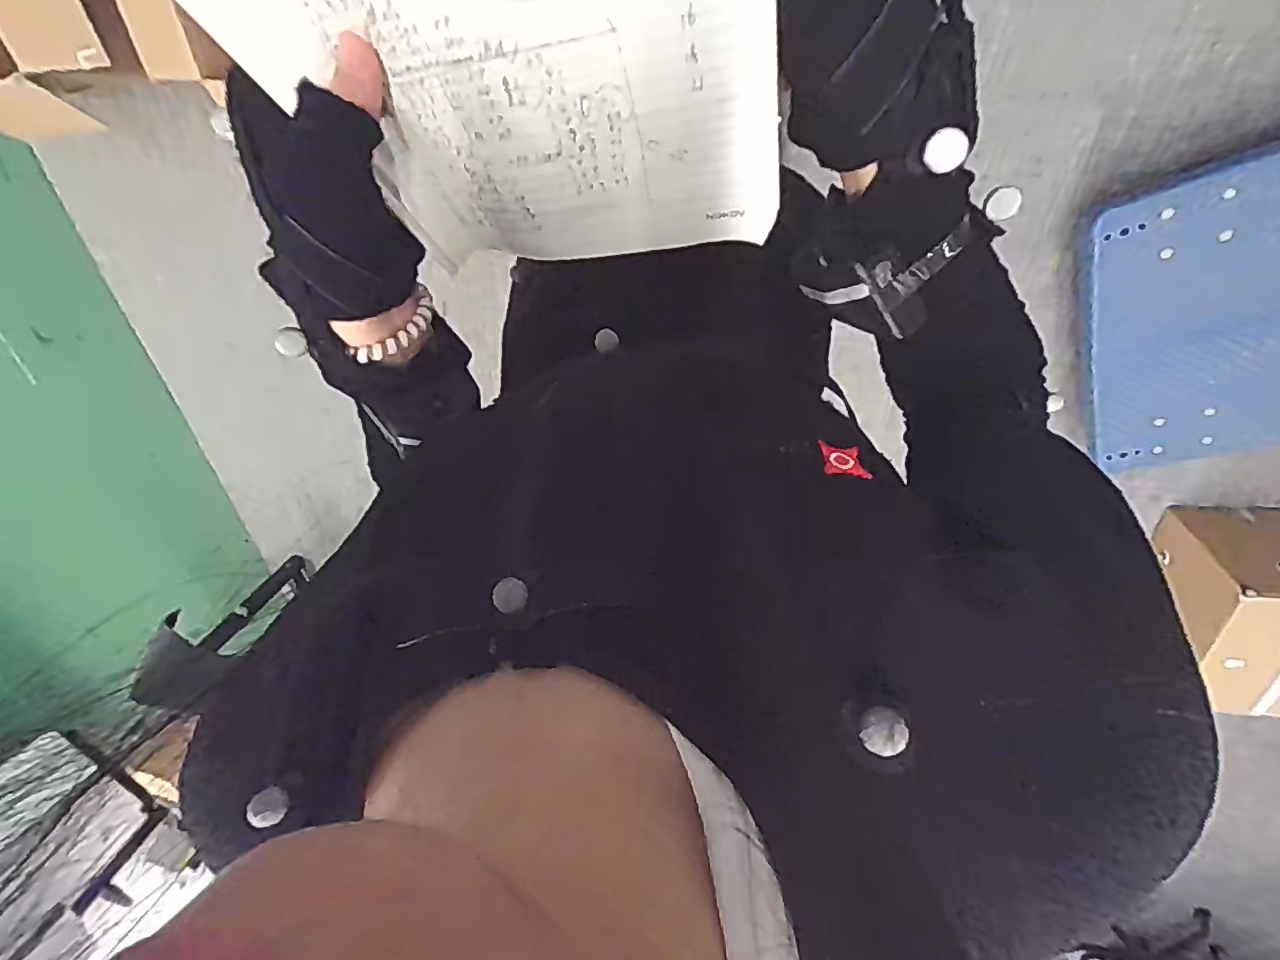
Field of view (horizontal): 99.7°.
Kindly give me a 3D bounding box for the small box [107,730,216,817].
[{"bbox_3d":[-1.517,0.937,1.732,0.168,0.176,0.179,9,126,7],"label":"small box"}]
